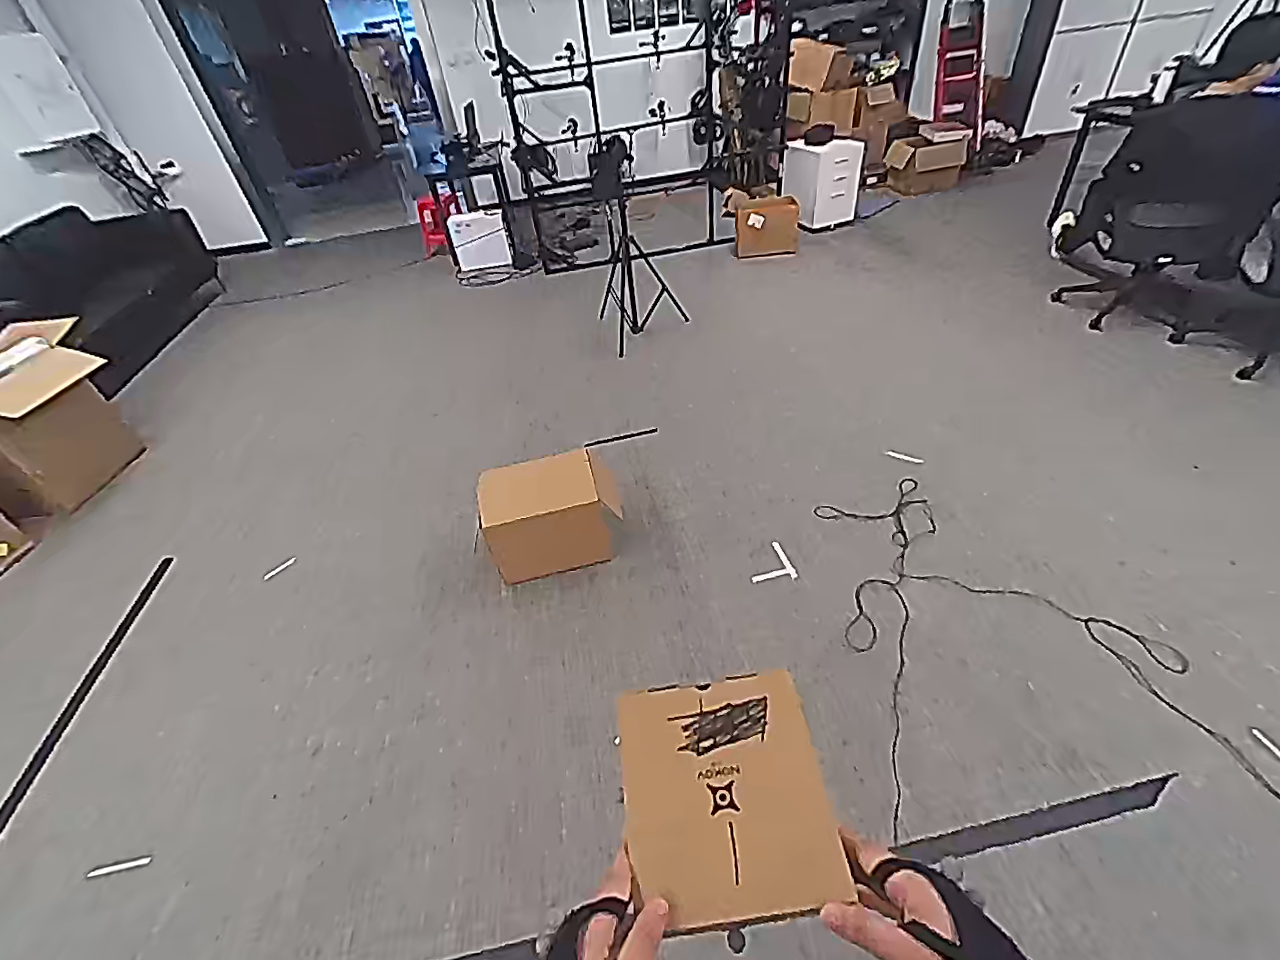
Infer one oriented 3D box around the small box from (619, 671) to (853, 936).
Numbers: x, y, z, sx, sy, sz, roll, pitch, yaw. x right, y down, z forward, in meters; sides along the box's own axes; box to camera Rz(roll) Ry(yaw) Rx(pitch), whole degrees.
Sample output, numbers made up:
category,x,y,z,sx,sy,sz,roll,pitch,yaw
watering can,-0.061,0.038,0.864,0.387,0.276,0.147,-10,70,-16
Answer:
category,x,y,z,sx,sy,sz,roll,pitch,yaw
small box,0.074,0.306,0.511,0.168,0.176,0.179,-8,49,-1
